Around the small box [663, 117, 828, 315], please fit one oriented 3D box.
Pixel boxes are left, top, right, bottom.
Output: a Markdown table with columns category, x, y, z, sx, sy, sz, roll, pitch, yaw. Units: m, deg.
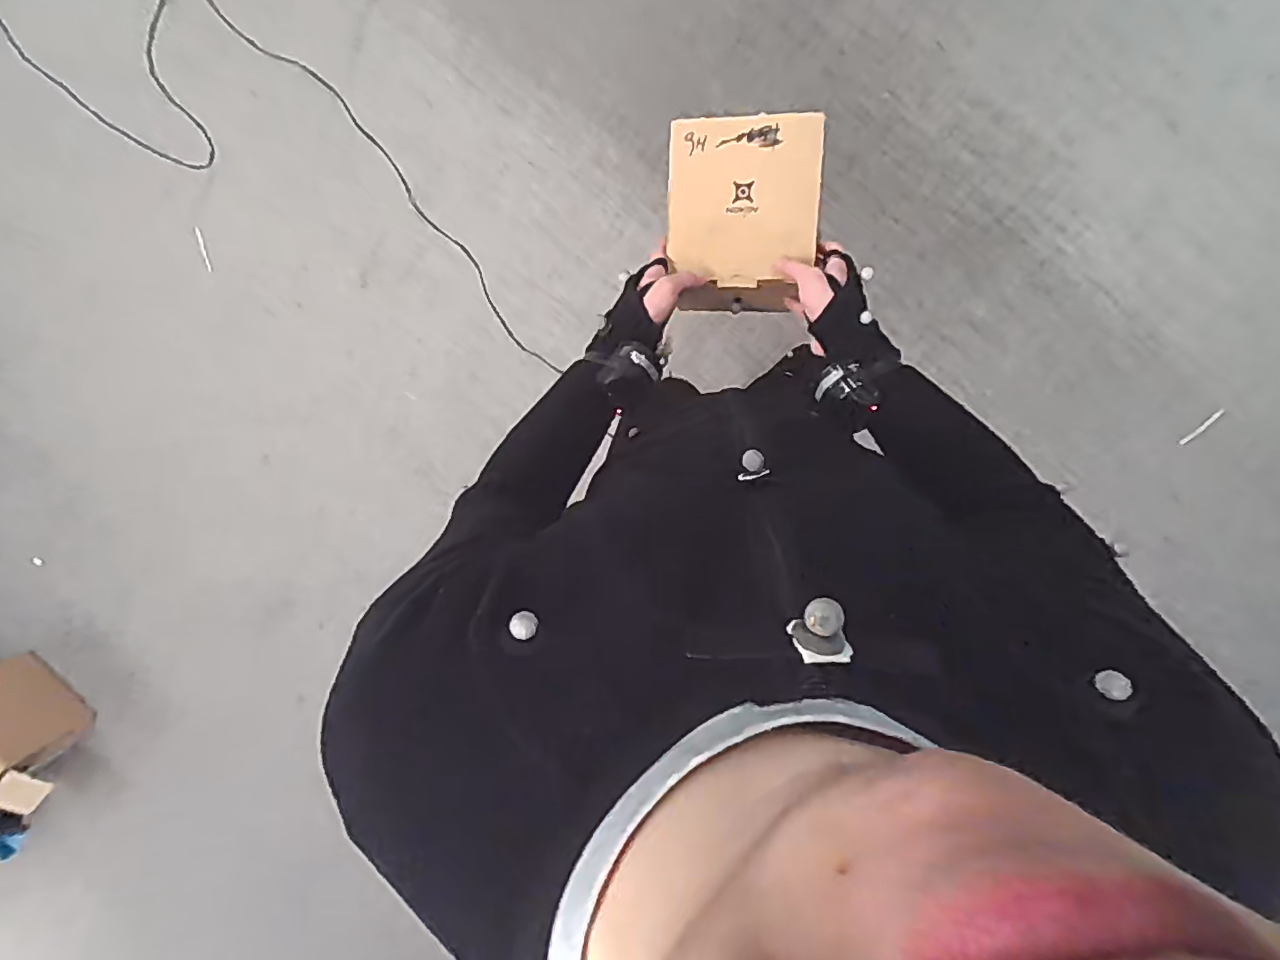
| category | x | y | z | sx | sy | sz | roll | pitch | yaw |
| --- | --- | --- | --- | --- | --- | --- | --- | --- | --- |
| small box | 0.124 | -0.302 | 0.657 | 0.168 | 0.176 | 0.179 | 3 | 97 | 9 |
